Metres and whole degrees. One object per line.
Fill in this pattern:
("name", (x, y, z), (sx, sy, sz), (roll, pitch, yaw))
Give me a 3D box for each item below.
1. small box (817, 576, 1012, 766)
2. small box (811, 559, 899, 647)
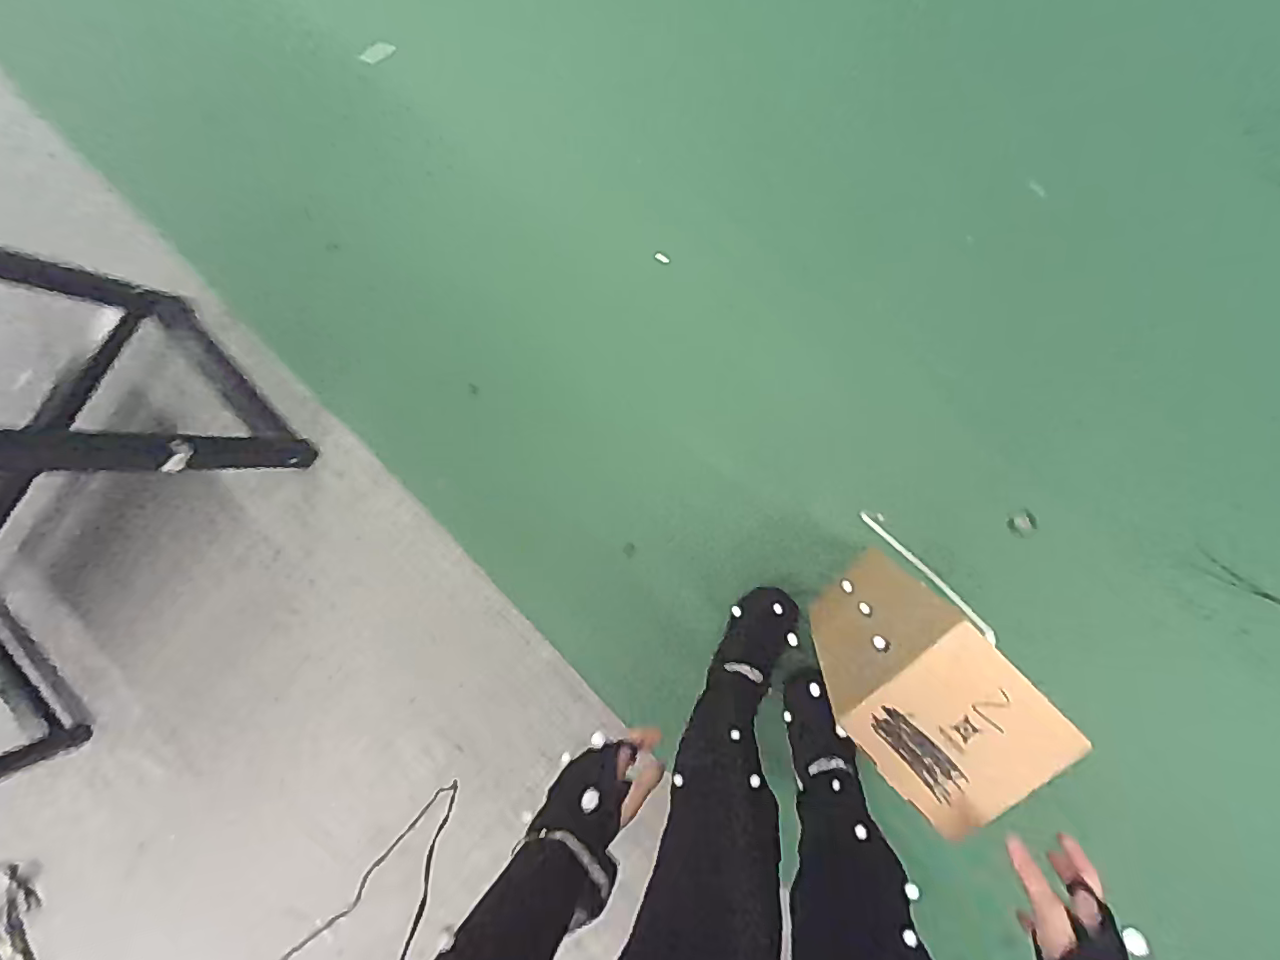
("small box", (0.381, 0.263, 0.792), (0.179, 0.176, 0.168), (-43, 81, 11))
("small box", (0.422, 0.263, 0.953), (0.168, 0.176, 0.179), (46, 100, 9))
